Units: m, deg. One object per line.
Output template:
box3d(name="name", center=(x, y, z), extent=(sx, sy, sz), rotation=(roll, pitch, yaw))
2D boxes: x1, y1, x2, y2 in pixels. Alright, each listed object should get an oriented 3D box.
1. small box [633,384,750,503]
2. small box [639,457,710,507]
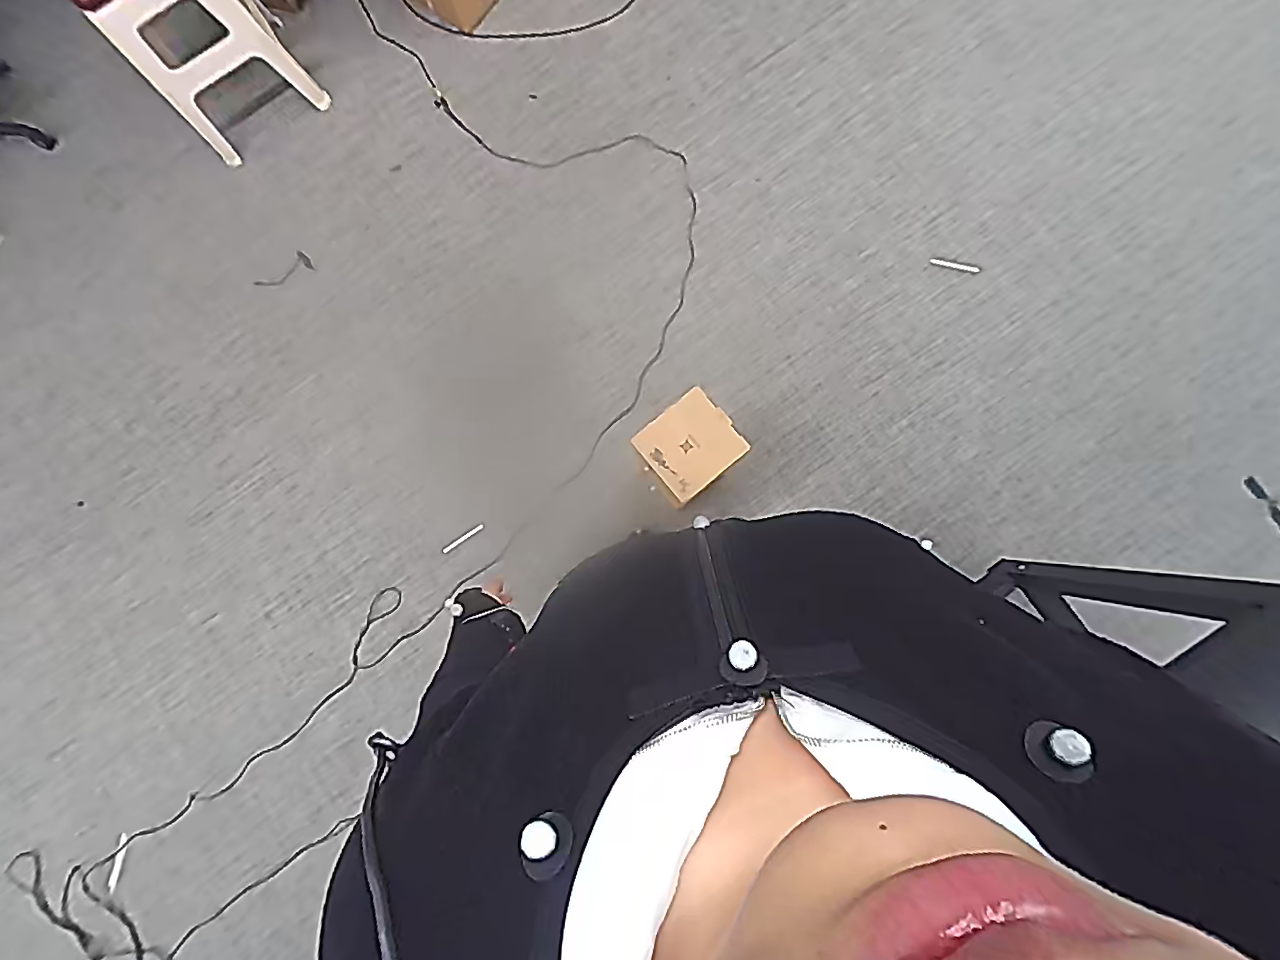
box3d(name="small box", center=(0.101, -0.069, 1.132), extent=(0.179, 0.176, 0.168), rotation=(-40, 84, -2))
box3d(name="small box", center=(0.113, -0.042, 1.457), extent=(0.179, 0.176, 0.168), rotation=(-39, 83, 0))
